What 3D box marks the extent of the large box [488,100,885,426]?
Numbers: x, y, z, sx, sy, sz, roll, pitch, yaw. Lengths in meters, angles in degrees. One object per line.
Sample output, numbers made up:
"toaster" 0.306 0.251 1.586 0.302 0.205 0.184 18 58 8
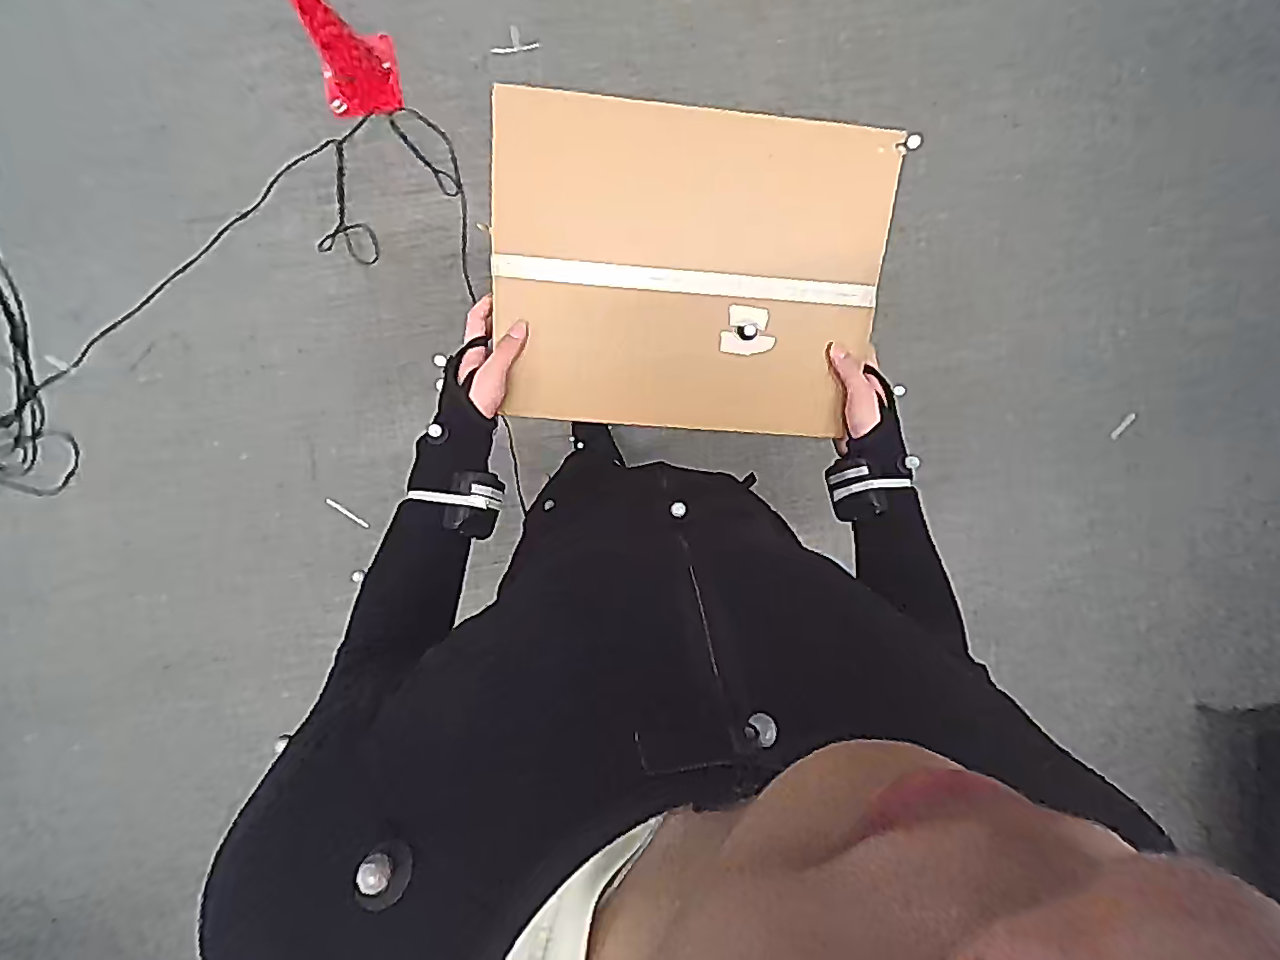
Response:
"large box" 0.033 -0.255 0.715 0.408 0.320 0.320 2 108 -5
